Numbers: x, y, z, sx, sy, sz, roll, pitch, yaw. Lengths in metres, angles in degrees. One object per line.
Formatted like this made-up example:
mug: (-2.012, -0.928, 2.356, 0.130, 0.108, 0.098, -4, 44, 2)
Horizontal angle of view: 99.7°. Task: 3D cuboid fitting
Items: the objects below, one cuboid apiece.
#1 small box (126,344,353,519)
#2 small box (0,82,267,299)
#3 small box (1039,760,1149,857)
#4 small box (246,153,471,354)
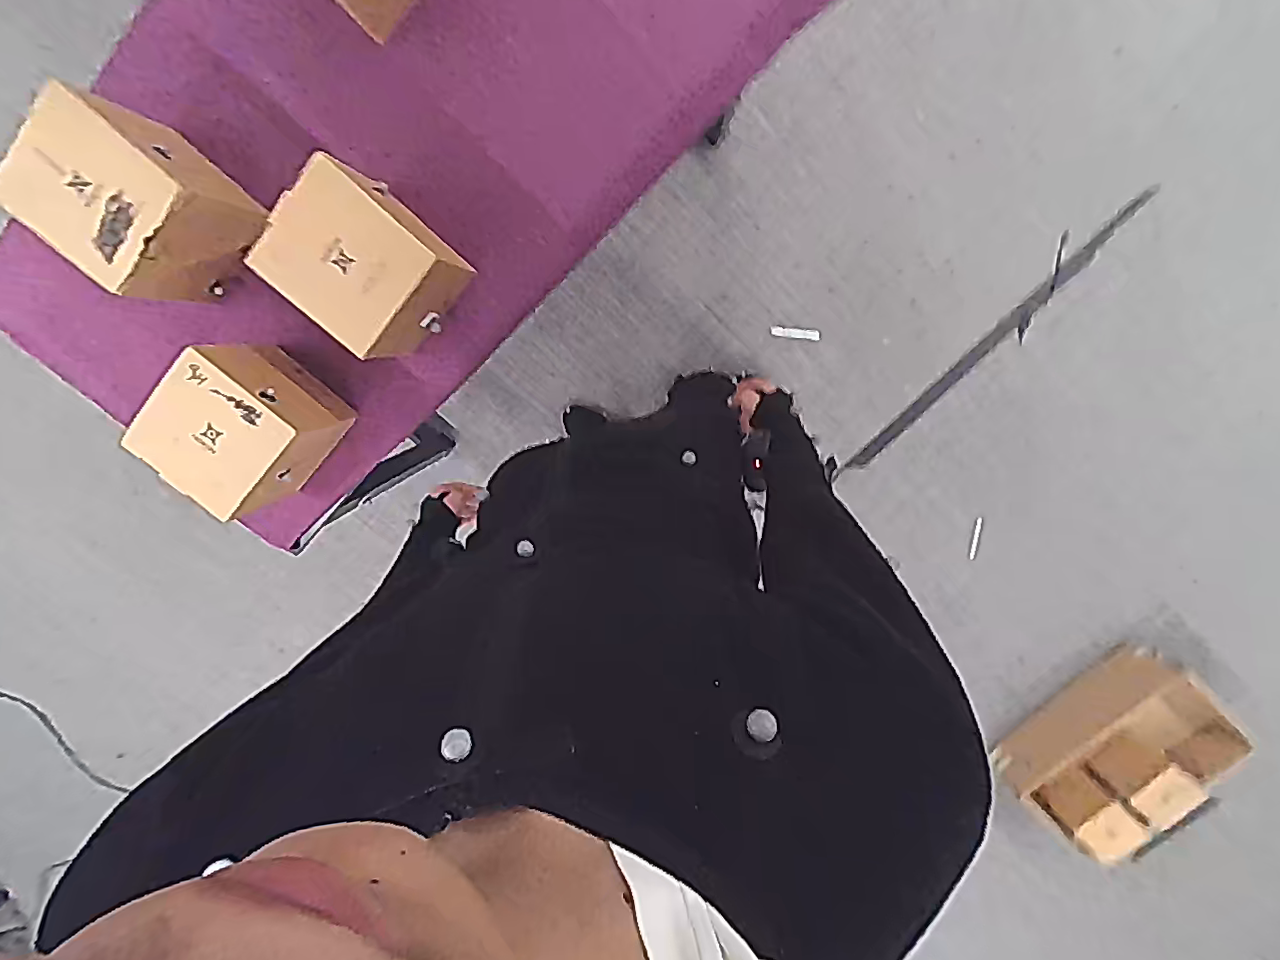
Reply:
small box: (-0.564, -0.078, 0.788, 0.168, 0.176, 0.179, 42, 101, -10)
small box: (-0.655, -0.361, 0.719, 0.179, 0.176, 0.168, 41, 101, -9)
small box: (1.470, 1.062, 1.762, 0.179, 0.176, 0.168, 42, 100, -6)
small box: (-0.365, -0.290, 0.735, 0.179, 0.176, 0.168, 41, 102, -11)
